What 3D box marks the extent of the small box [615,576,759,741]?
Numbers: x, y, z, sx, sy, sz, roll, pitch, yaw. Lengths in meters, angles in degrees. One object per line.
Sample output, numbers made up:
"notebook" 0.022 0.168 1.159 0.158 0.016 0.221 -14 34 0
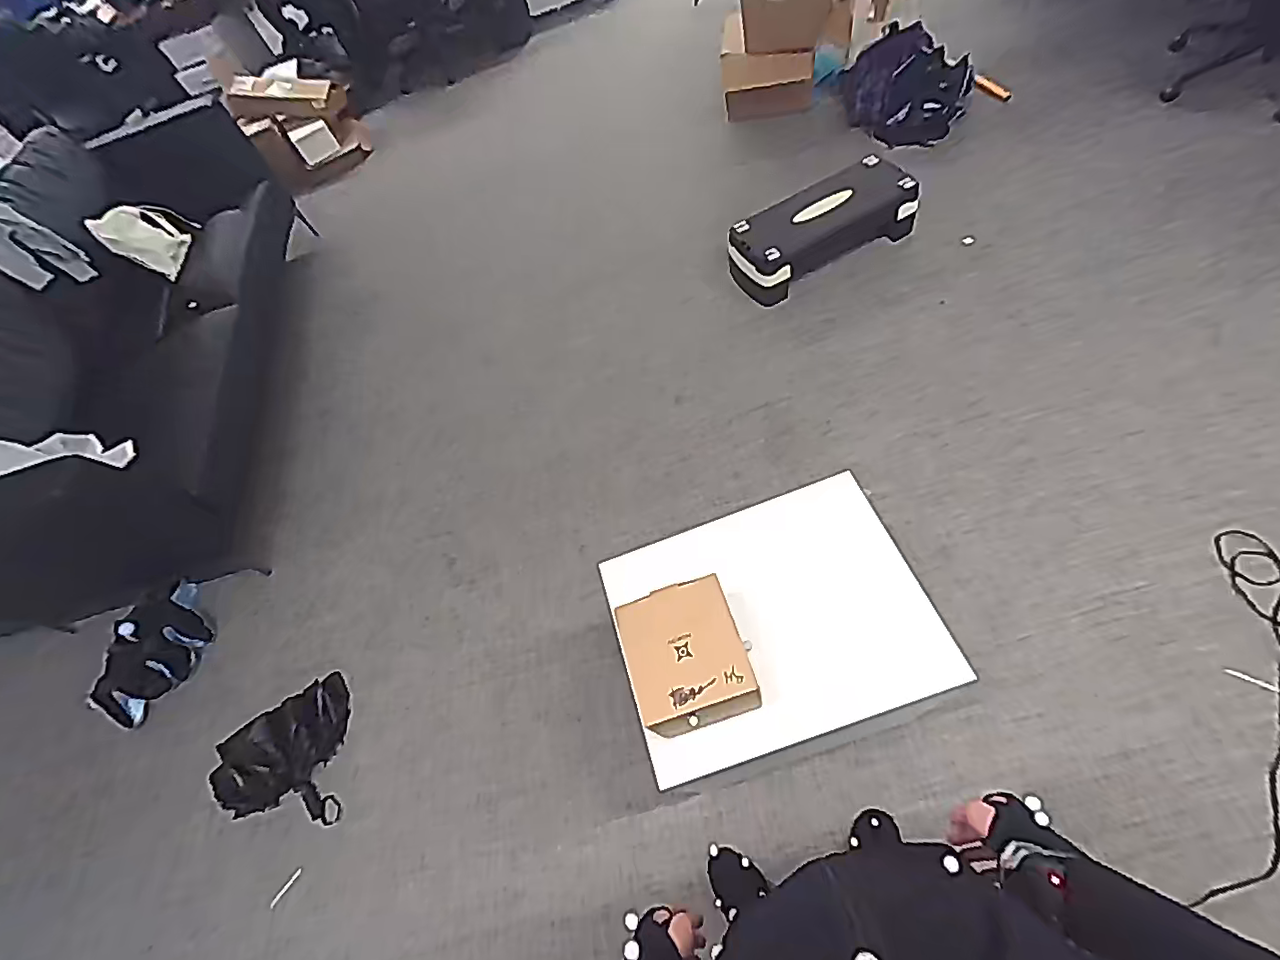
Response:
"small box" 0.075 0.278 0.831 0.168 0.176 0.179 -20 56 2
